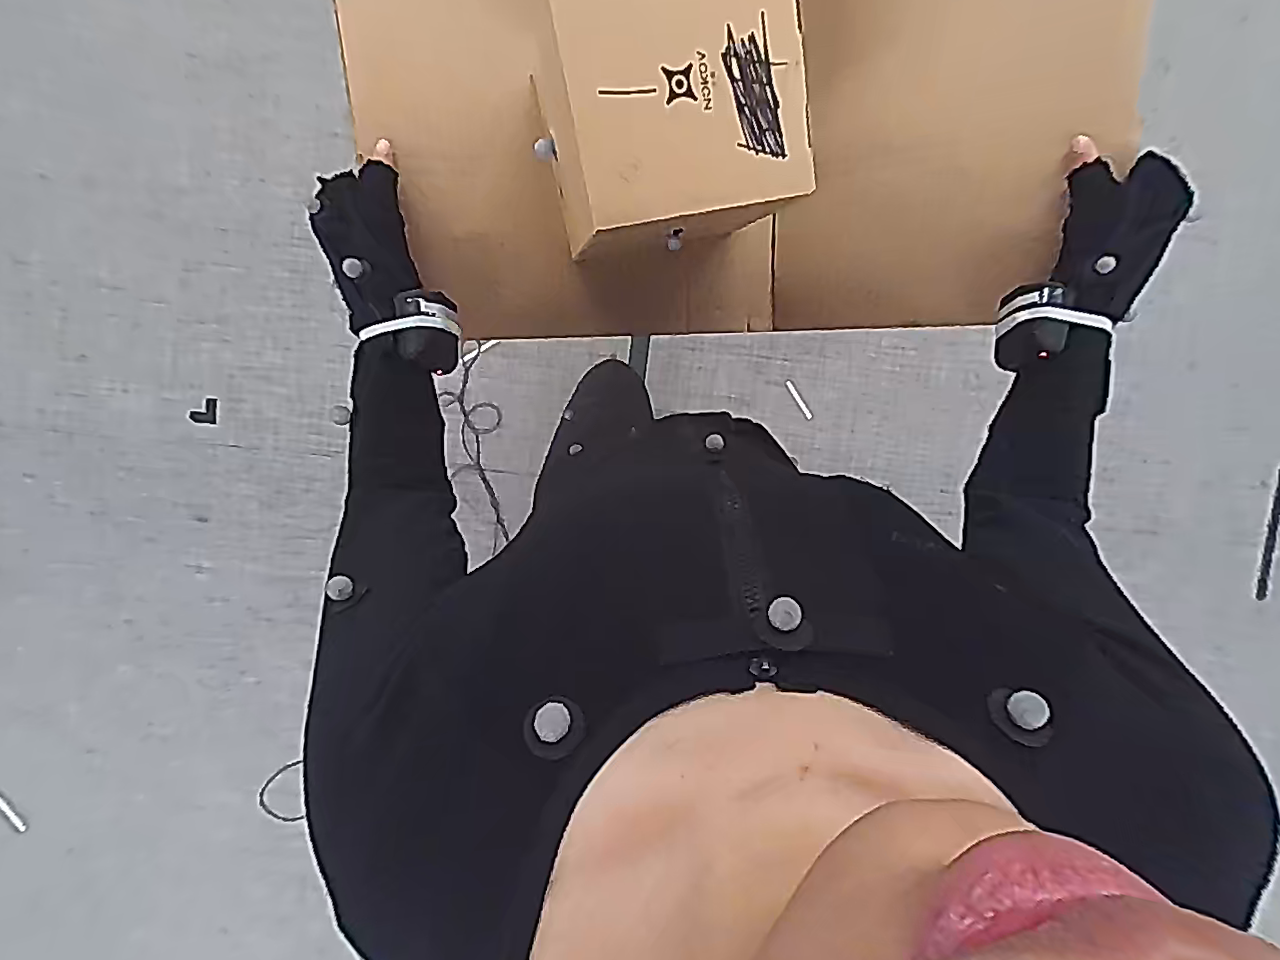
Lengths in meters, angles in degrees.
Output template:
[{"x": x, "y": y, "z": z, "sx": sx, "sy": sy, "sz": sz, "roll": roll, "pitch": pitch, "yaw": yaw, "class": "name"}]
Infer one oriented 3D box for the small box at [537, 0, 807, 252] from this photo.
[{"x": 0.017, "y": -0.303, "z": 0.460, "sx": 0.179, "sy": 0.176, "sz": 0.168, "roll": -14, "pitch": 107, "yaw": -8, "class": "small box"}]
